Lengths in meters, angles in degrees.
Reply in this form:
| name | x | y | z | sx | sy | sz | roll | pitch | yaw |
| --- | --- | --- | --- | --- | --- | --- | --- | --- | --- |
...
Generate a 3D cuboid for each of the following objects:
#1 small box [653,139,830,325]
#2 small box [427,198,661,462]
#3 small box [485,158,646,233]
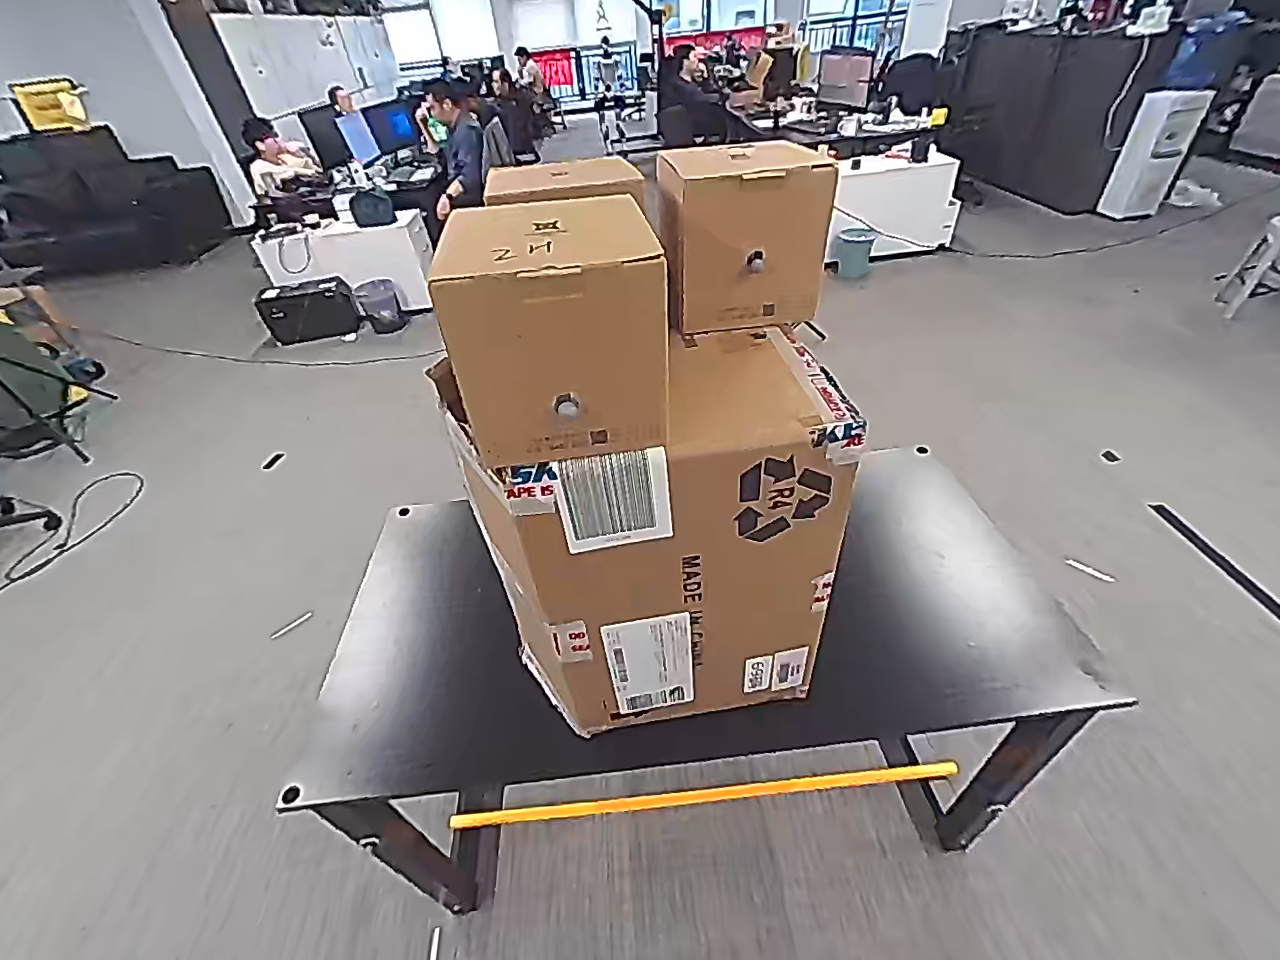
| name | x | y | z | sx | sy | sz | roll | pitch | yaw |
| --- | --- | --- | --- | --- | --- | --- | --- | --- | --- |
| small box | 0.111 | -0.300 | 0.664 | 0.168 | 0.176 | 0.179 | -7 | 41 | -4 |
| small box | -0.075 | -0.139 | 0.492 | 0.168 | 0.176 | 0.179 | -8 | 42 | -4 |
| small box | -0.087 | -0.281 | 0.666 | 0.168 | 0.176 | 0.179 | -11 | 40 | -6 |
